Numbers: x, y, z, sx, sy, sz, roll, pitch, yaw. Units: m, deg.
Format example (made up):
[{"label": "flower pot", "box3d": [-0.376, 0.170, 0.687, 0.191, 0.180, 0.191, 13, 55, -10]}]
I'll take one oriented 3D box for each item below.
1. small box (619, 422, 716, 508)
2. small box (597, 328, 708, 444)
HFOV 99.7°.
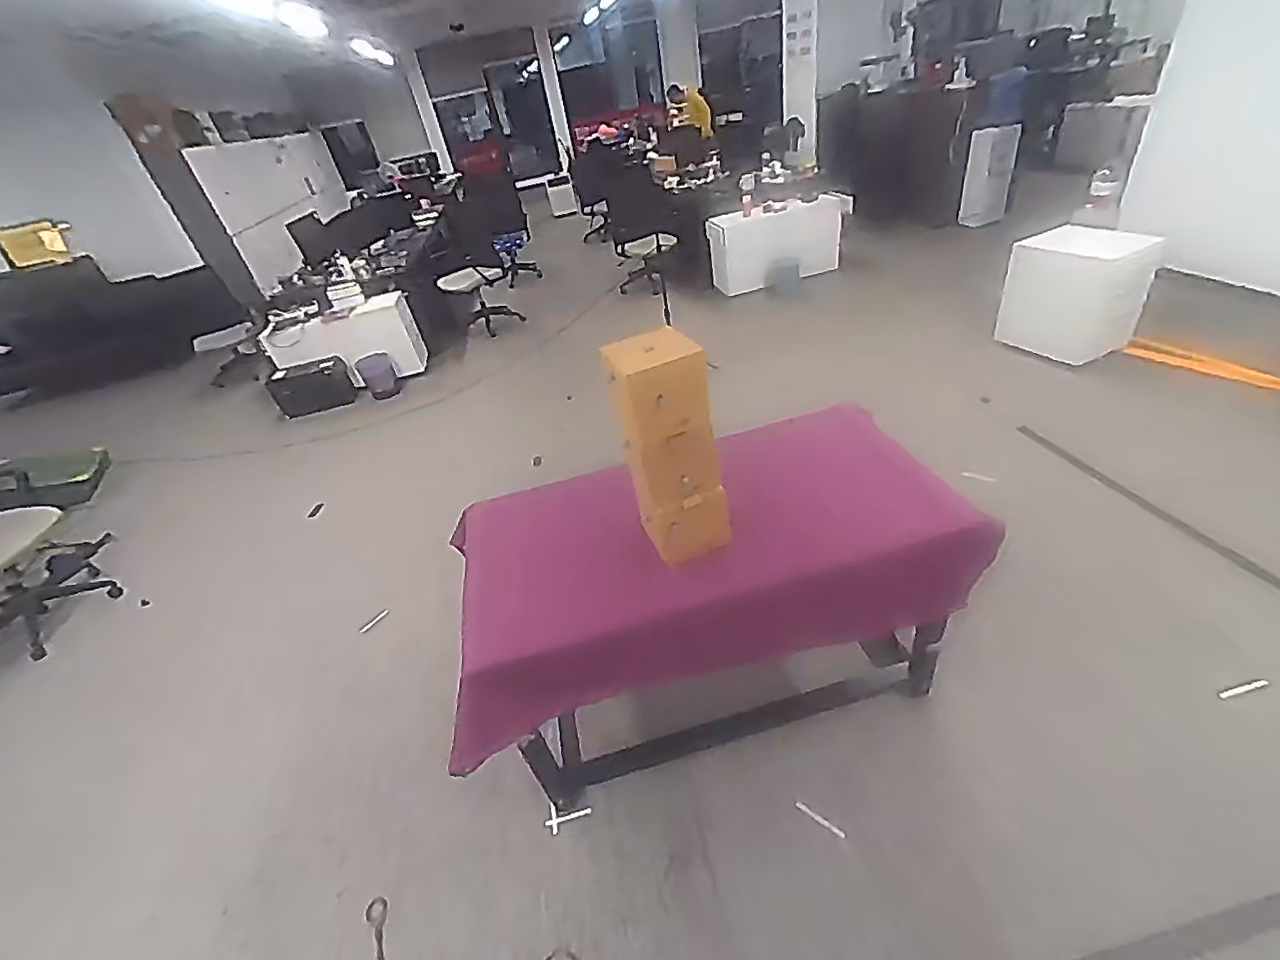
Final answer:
[{"label": "small box", "box3d": [0.061, -0.065, 1.226, 0.168, 0.176, 0.179, -20, 36, -9]}, {"label": "small box", "box3d": [0.029, -0.193, 1.130, 0.168, 0.176, 0.179, -21, 35, -12]}]
